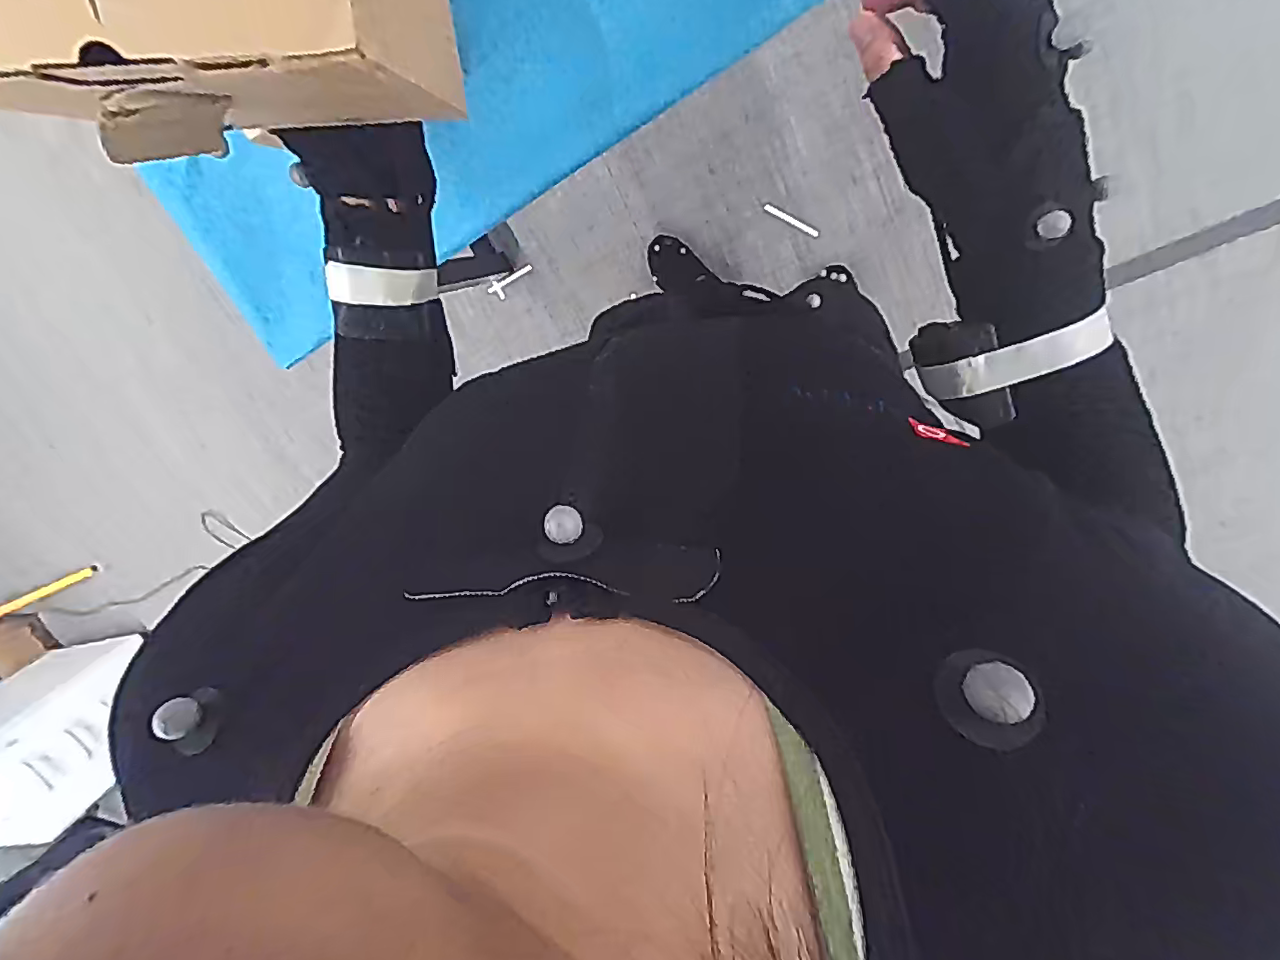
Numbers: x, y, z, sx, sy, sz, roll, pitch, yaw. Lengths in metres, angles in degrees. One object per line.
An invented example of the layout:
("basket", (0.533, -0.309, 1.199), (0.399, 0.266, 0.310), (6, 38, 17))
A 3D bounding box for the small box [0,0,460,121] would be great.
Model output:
("small box", (-0.179, -0.243, 0.201), (0.168, 0.176, 0.179), (-4, 119, -2))

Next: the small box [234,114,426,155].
("small box", (-0.311, -0.442, 0.515), (0.168, 0.176, 0.179), (-20, 112, 19))
